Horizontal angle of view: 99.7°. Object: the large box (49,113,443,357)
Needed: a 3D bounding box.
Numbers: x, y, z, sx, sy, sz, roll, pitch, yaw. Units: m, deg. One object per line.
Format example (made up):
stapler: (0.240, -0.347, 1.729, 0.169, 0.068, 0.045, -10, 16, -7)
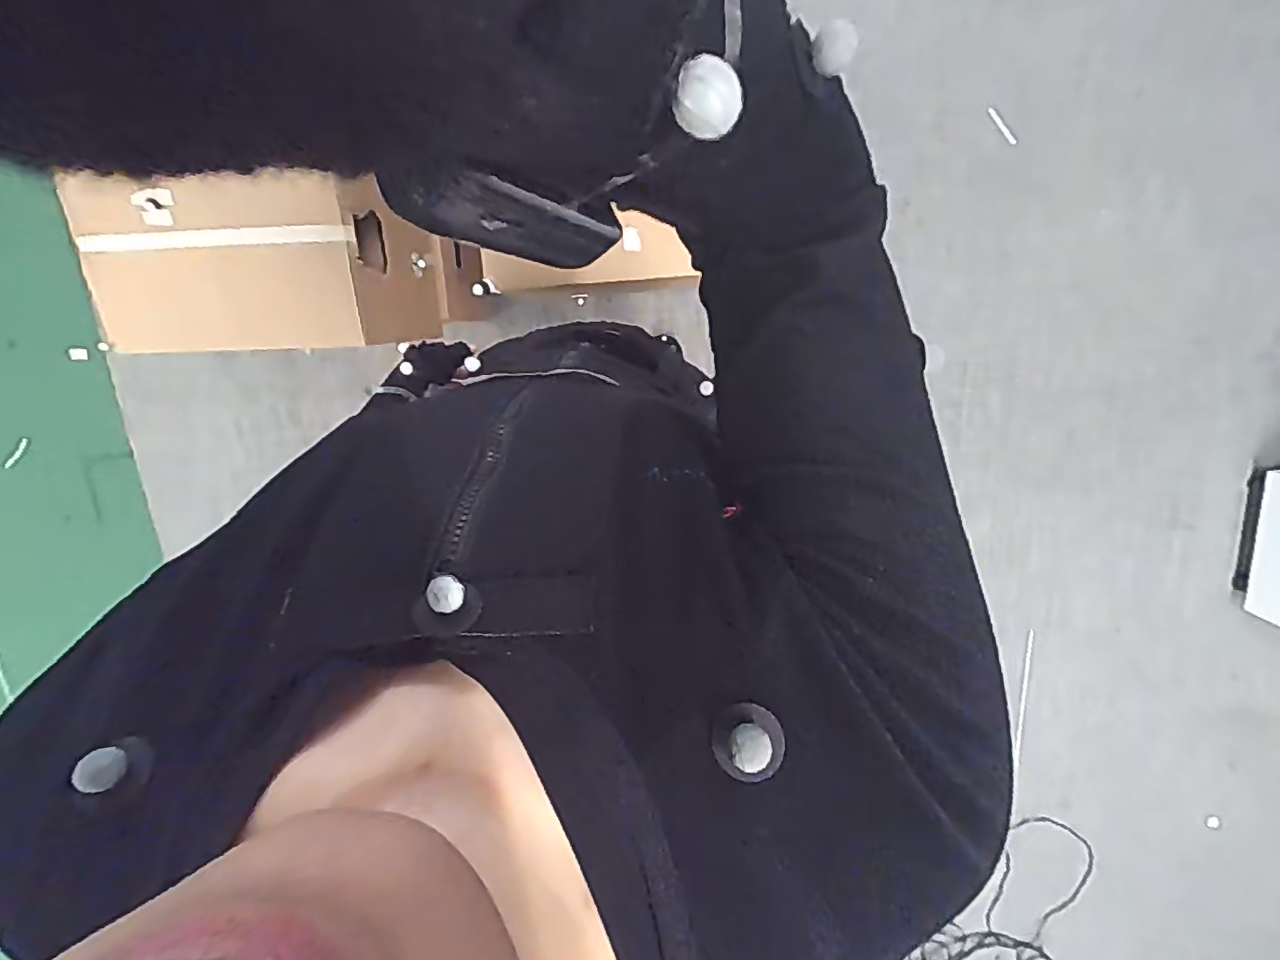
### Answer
large box: (-0.606, -0.387, 0.921, 0.408, 0.320, 0.320, -1, 107, 3)
